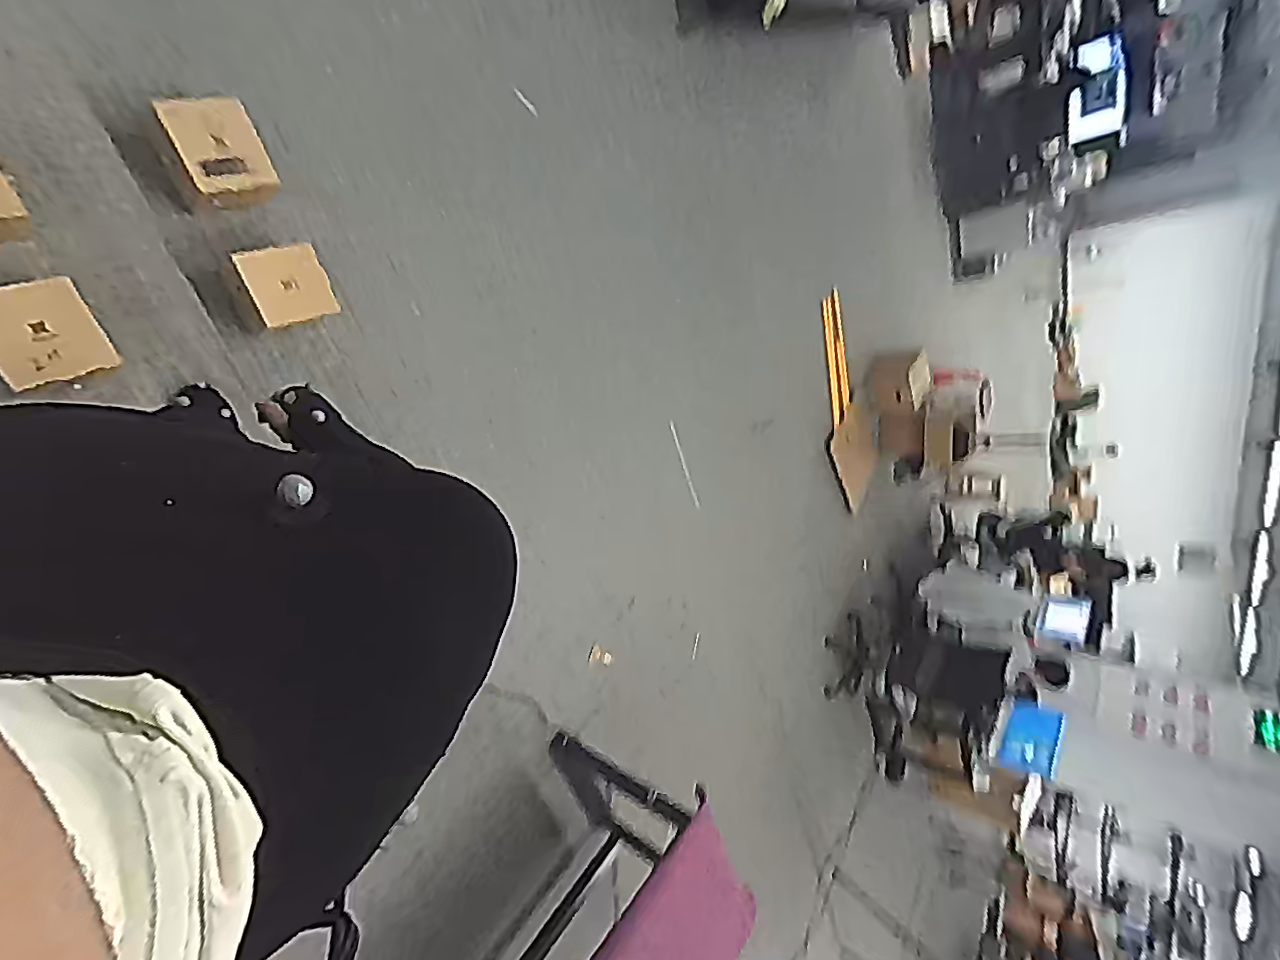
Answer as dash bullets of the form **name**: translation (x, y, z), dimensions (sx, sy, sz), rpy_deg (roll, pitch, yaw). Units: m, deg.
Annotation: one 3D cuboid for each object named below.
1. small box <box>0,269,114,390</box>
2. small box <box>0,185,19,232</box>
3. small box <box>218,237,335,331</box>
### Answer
- **small box**: translation (-1.168, -0.284, 1.038), dimensions (0.168, 0.176, 0.179), rpy_deg (-35, 117, -38)
- **small box**: translation (-1.243, -0.531, 0.938), dimensions (0.168, 0.176, 0.179), rpy_deg (-35, 117, -38)
- **small box**: translation (-0.887, -0.472, 1.312), dimensions (0.179, 0.176, 0.168), rpy_deg (-35, 117, -39)
